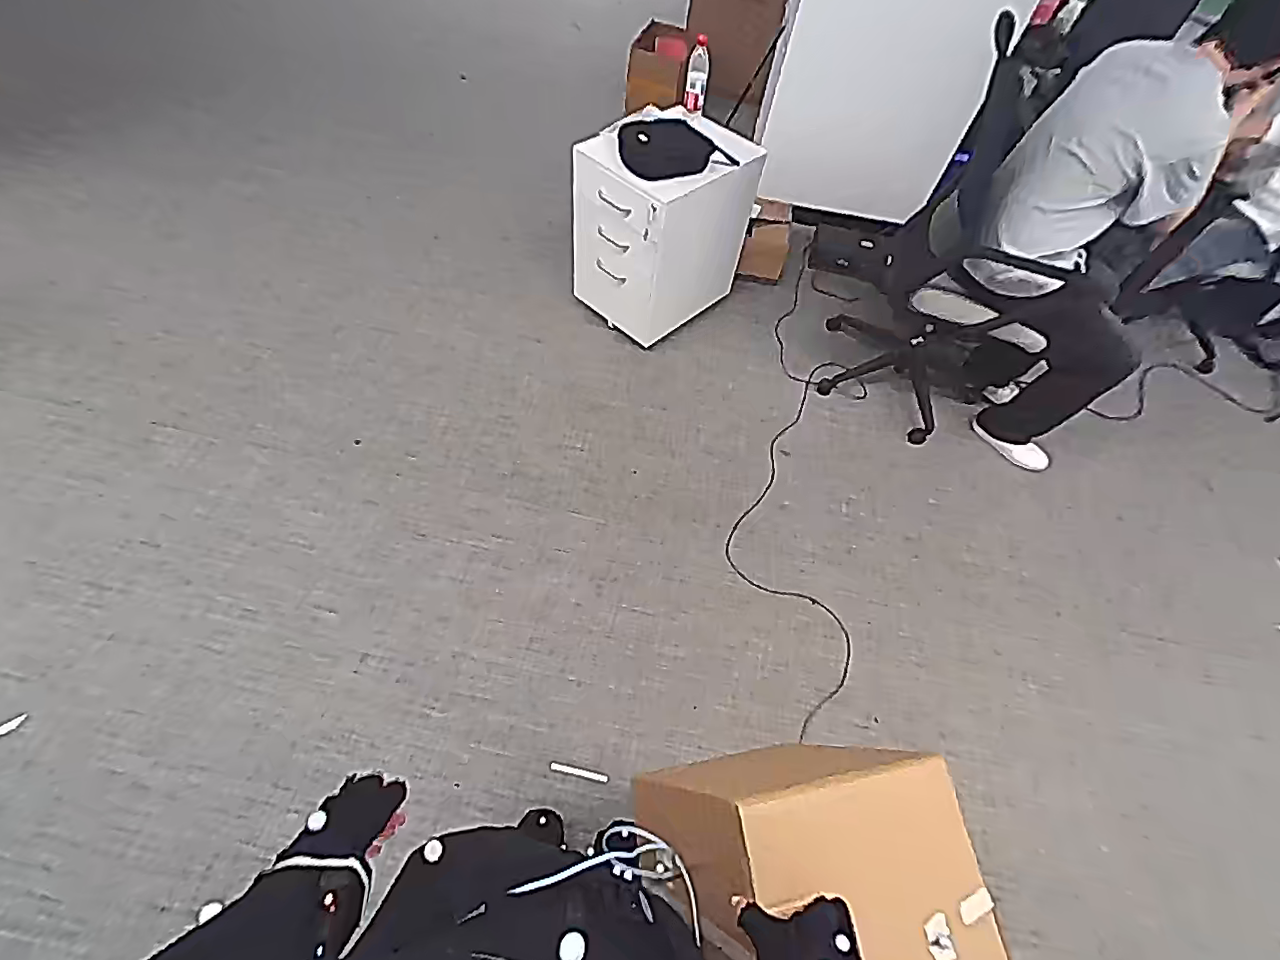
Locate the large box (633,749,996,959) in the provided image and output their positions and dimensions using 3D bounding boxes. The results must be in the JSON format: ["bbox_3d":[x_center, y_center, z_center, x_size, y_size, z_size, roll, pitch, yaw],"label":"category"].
[{"bbox_3d":[0.212,0.589,0.786,0.320,0.408,0.320,-1,66,-19],"label":"large box"}]
